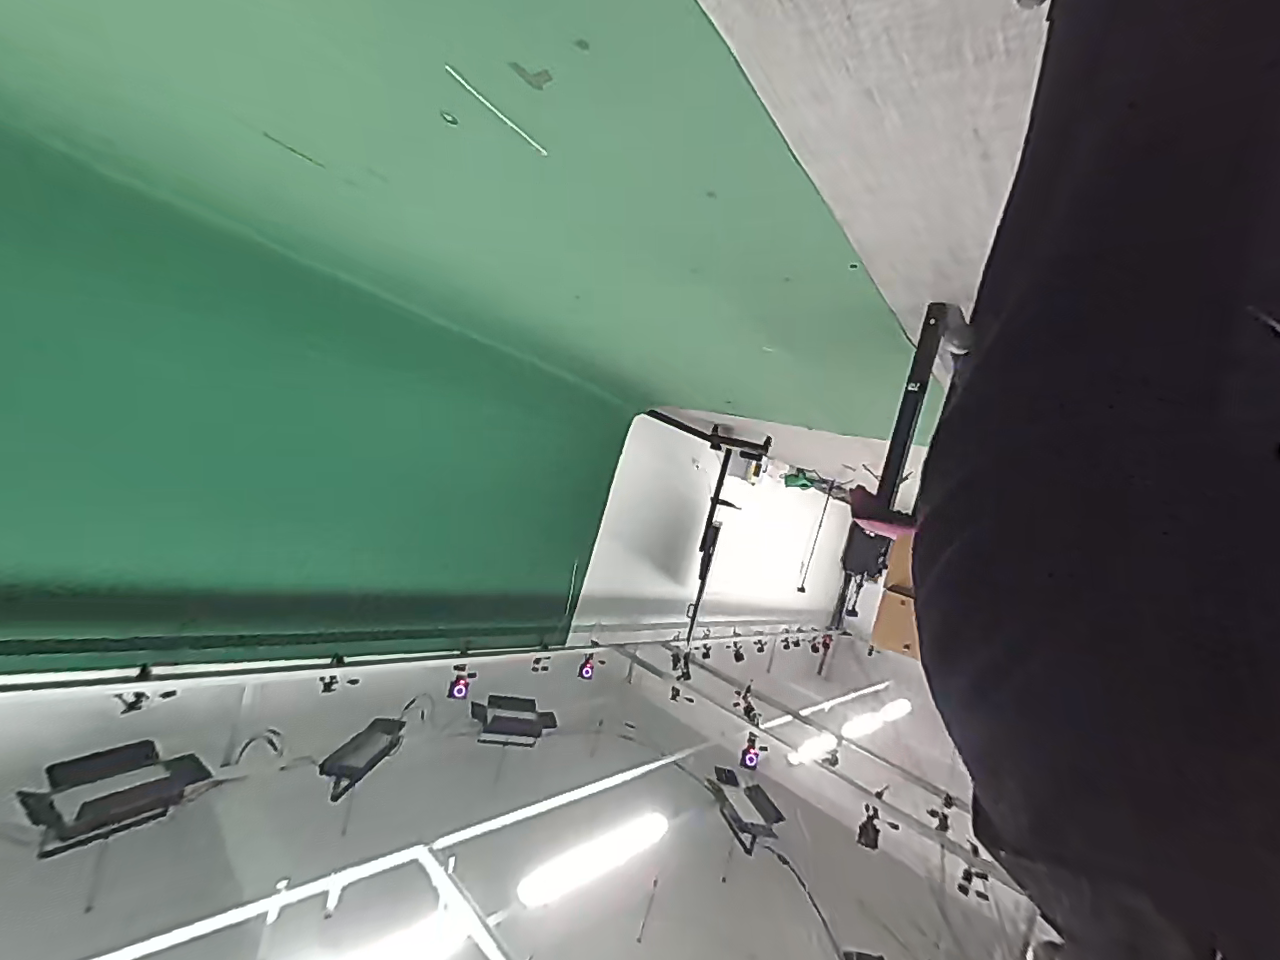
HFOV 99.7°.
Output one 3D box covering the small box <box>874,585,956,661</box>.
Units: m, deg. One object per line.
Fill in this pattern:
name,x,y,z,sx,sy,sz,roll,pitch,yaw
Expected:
small box,0.822,0.417,1.608,0.168,0.176,0.179,14,179,39
